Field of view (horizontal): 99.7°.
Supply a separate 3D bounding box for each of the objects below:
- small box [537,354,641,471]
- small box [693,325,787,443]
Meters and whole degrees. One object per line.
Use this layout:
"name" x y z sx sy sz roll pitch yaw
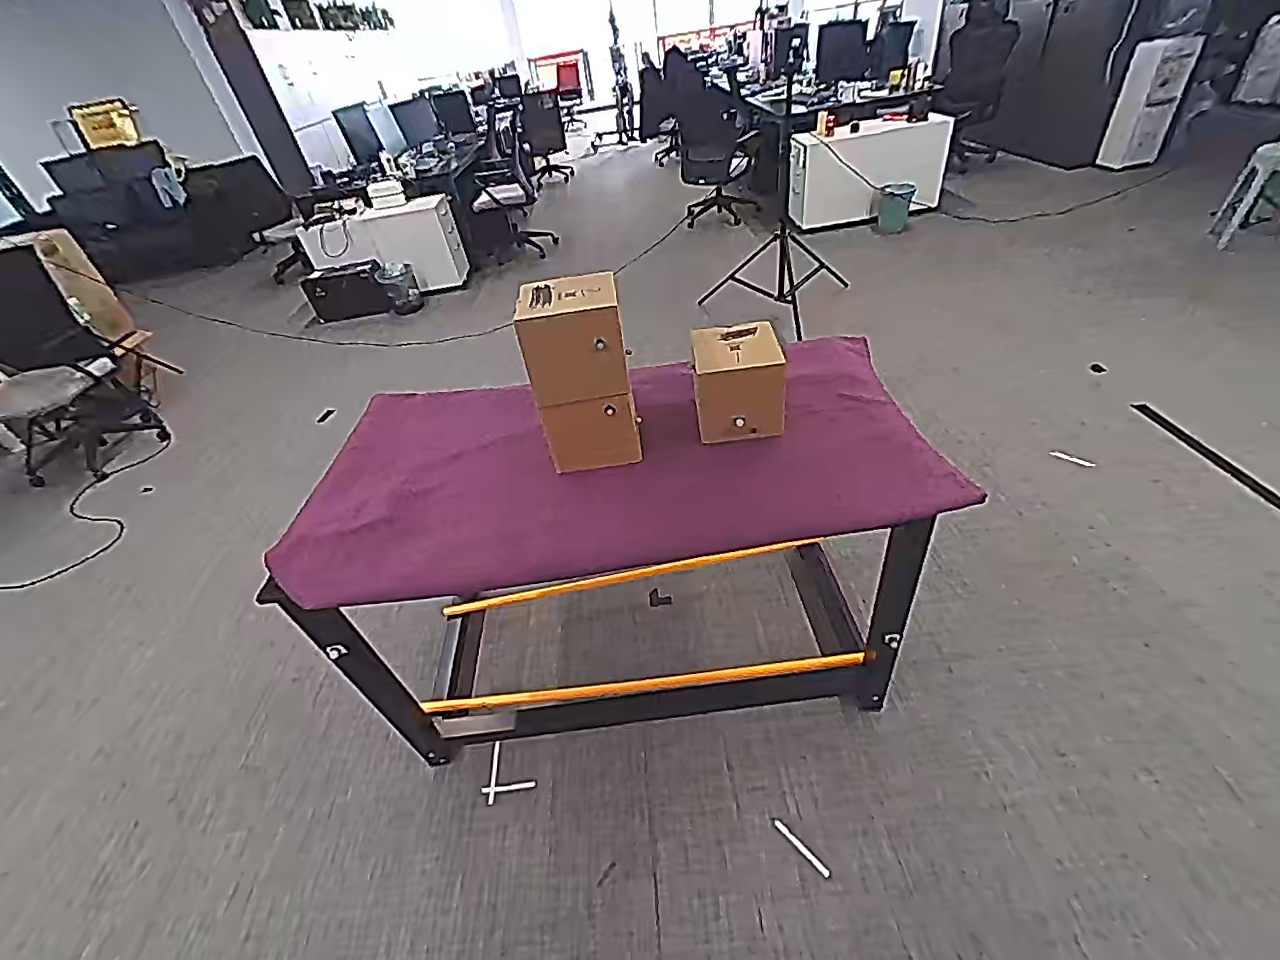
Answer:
"small box" -0.098 -0.135 1.101 0.179 0.176 0.168 -8 40 2
"small box" 0.199 -0.196 1.108 0.168 0.176 0.179 -6 41 5
